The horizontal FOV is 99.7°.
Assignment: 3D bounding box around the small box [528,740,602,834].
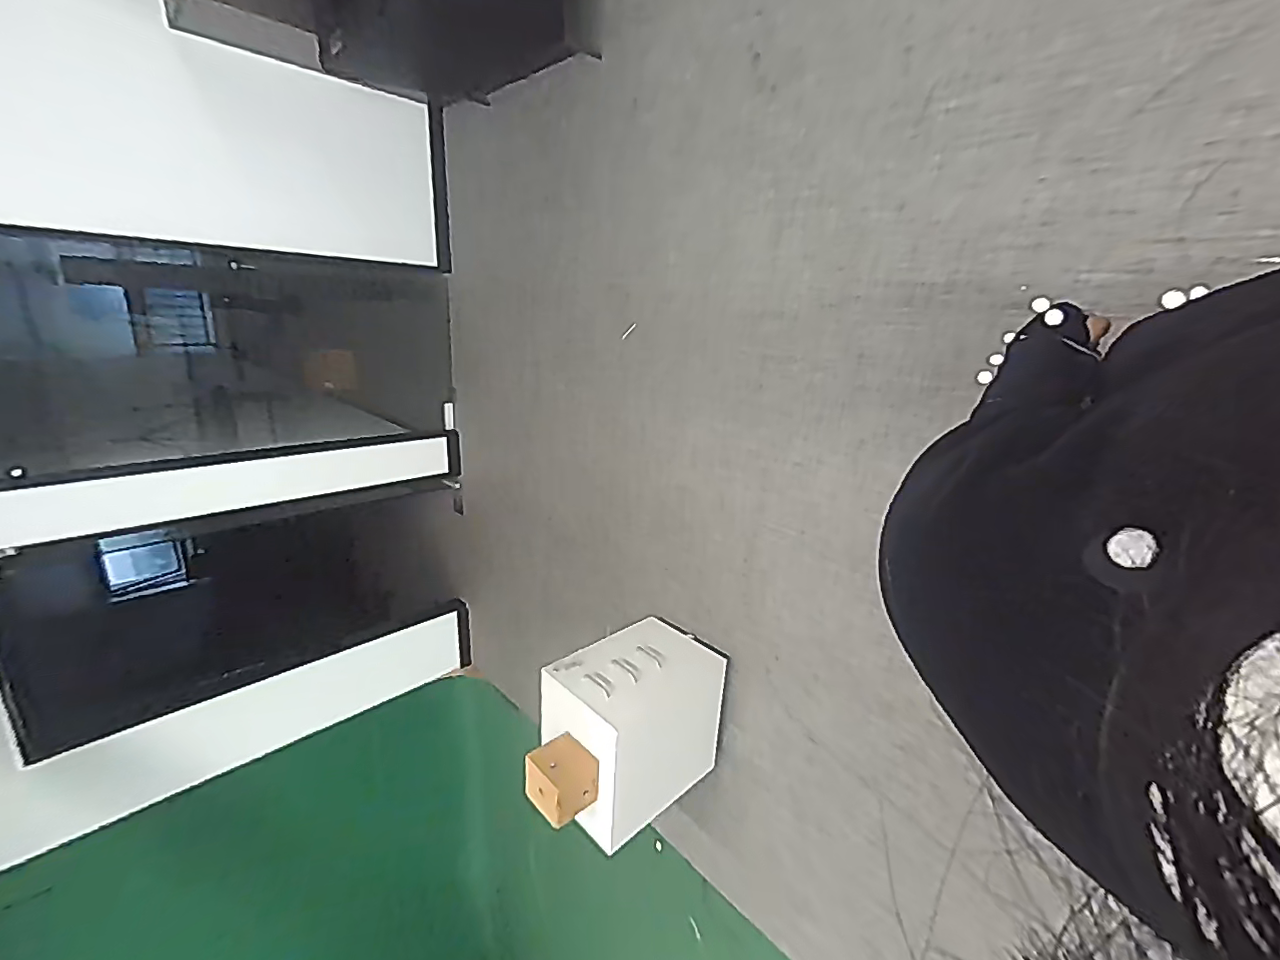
[{"bbox_3d":[-0.241,0.970,1.734,0.179,0.176,0.168,19,113,44],"label":"small box"}]
